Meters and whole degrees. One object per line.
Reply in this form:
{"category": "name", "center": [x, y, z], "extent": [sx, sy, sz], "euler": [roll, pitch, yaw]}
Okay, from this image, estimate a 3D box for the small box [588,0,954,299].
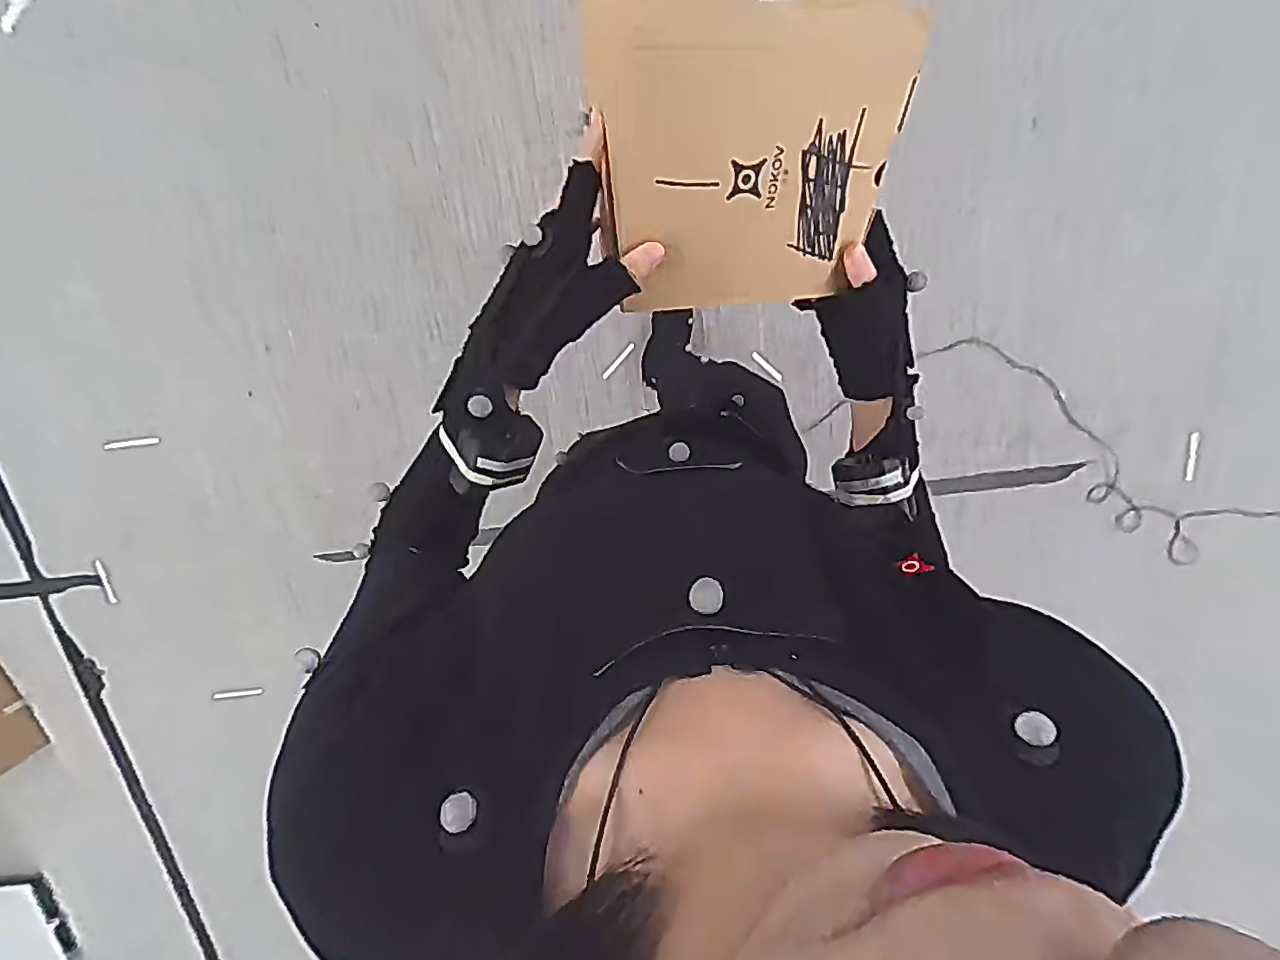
{"category": "small box", "center": [0.063, -0.247, 0.380], "extent": [0.179, 0.176, 0.168], "euler": [-7, 136, -9]}
